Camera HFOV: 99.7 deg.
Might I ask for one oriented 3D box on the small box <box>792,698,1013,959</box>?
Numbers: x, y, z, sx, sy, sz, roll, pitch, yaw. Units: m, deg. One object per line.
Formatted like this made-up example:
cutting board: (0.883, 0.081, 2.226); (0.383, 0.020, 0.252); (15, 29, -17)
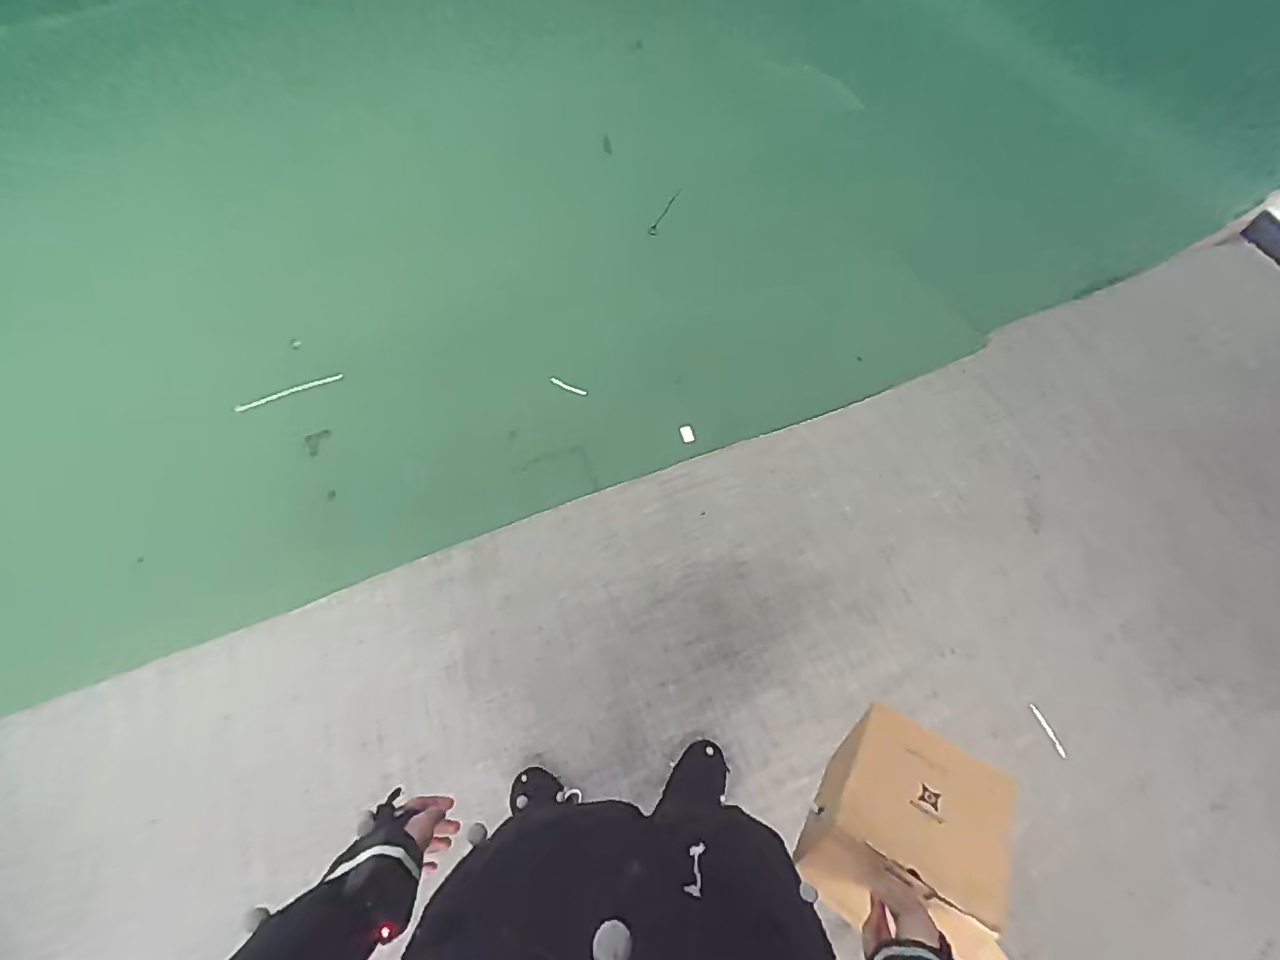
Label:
small box: (0.296, 0.406, 0.629); (0.168, 0.176, 0.179); (28, 40, 21)
